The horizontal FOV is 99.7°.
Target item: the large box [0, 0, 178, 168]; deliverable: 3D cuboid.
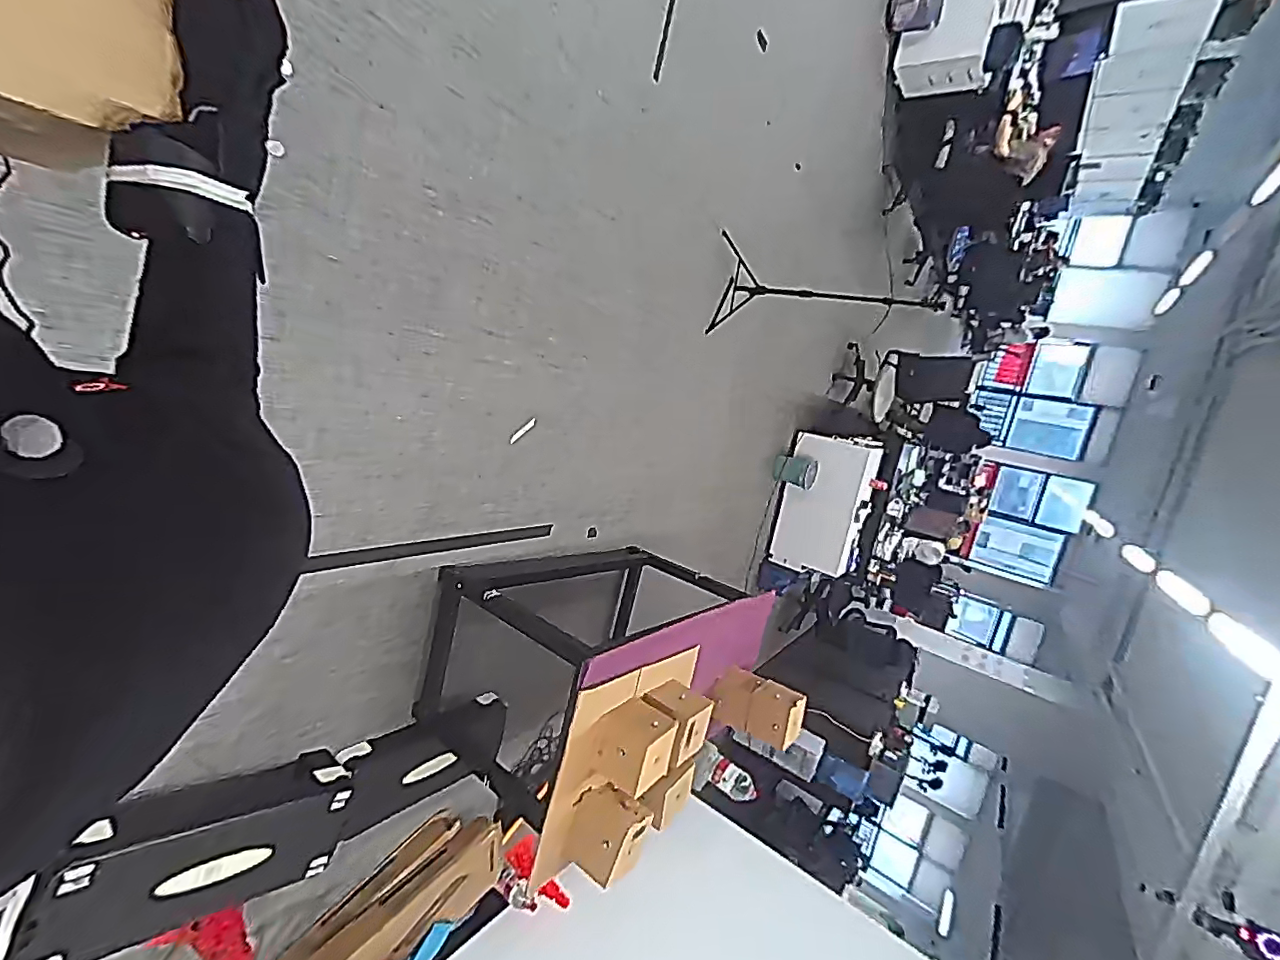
[{"bbox_3d":[-0.548,-0.406,0.279,0.408,0.320,0.320,-7,112,-57],"label":"large box"}]
